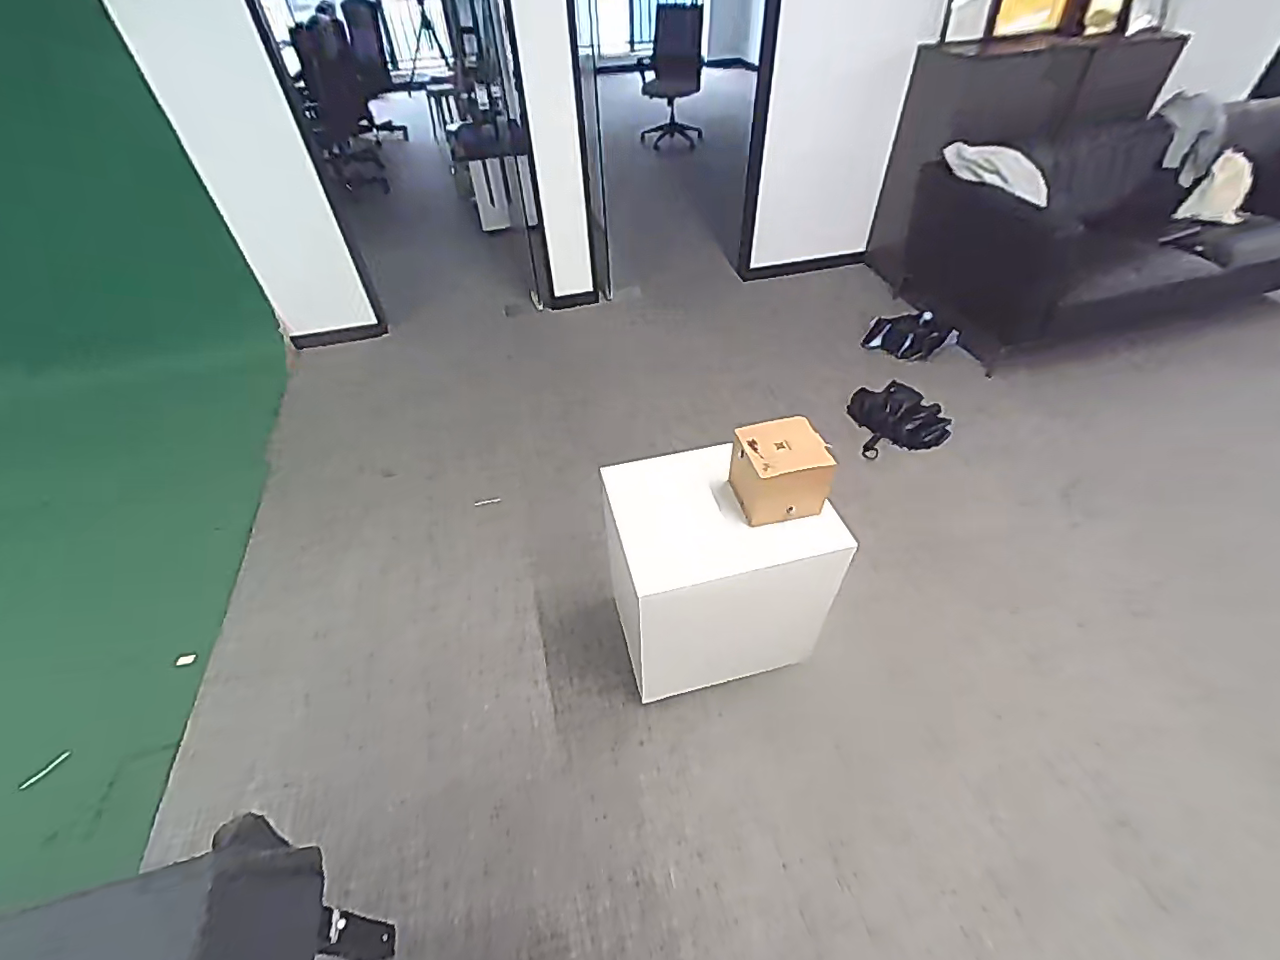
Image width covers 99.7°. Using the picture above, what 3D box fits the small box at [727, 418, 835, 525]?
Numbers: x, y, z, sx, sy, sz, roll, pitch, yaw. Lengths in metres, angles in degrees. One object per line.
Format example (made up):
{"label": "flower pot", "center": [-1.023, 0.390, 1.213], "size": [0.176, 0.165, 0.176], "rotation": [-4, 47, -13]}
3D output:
{"label": "small box", "center": [0.314, -0.019, 1.244], "size": [0.179, 0.176, 0.168], "rotation": [-9, 47, -9]}
